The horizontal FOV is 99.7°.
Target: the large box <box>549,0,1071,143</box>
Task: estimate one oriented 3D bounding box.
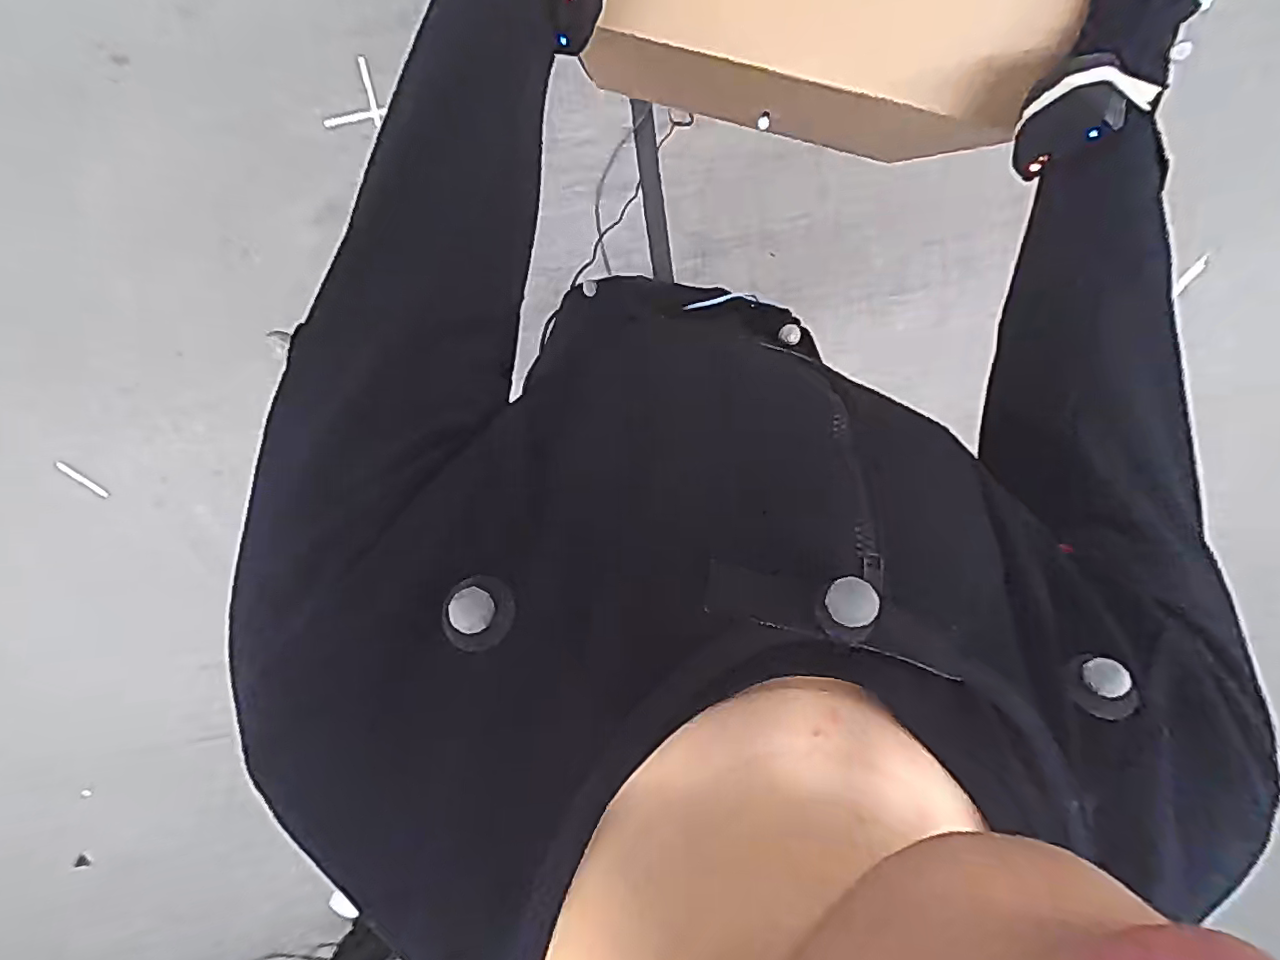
[{"bbox_3d":[0.157,-0.537,0.500,0.408,0.320,0.320,12,116,-3],"label":"large box"}]
